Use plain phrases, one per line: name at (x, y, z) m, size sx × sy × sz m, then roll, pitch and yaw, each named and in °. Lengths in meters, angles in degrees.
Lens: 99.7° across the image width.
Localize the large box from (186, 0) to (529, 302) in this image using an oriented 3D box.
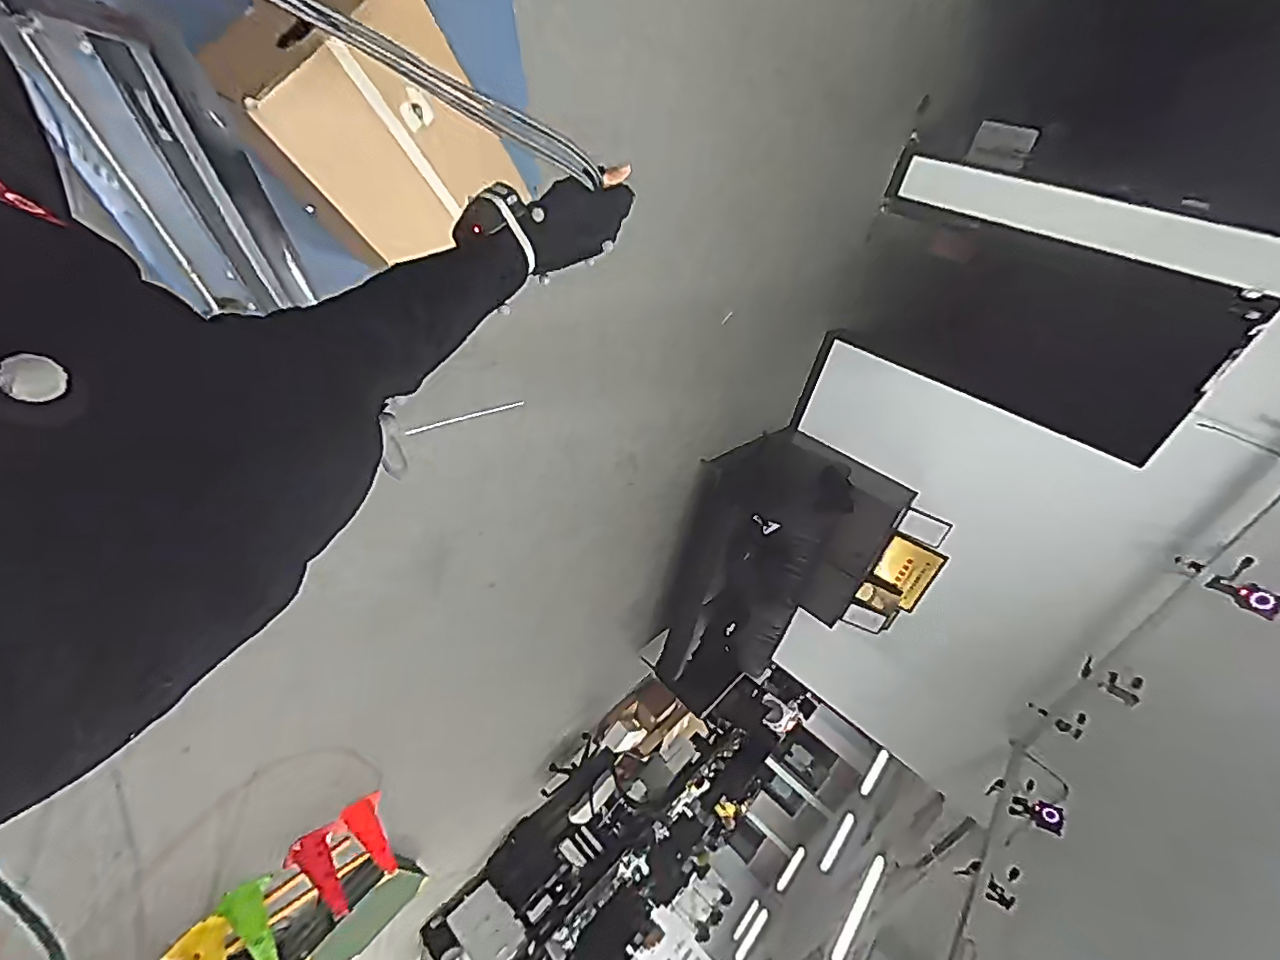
large box at (-0.489, -0.619, 1.001) m, size 0.320 × 0.320 × 0.408 m, roll -51°, pitch 150°, yaw -8°
